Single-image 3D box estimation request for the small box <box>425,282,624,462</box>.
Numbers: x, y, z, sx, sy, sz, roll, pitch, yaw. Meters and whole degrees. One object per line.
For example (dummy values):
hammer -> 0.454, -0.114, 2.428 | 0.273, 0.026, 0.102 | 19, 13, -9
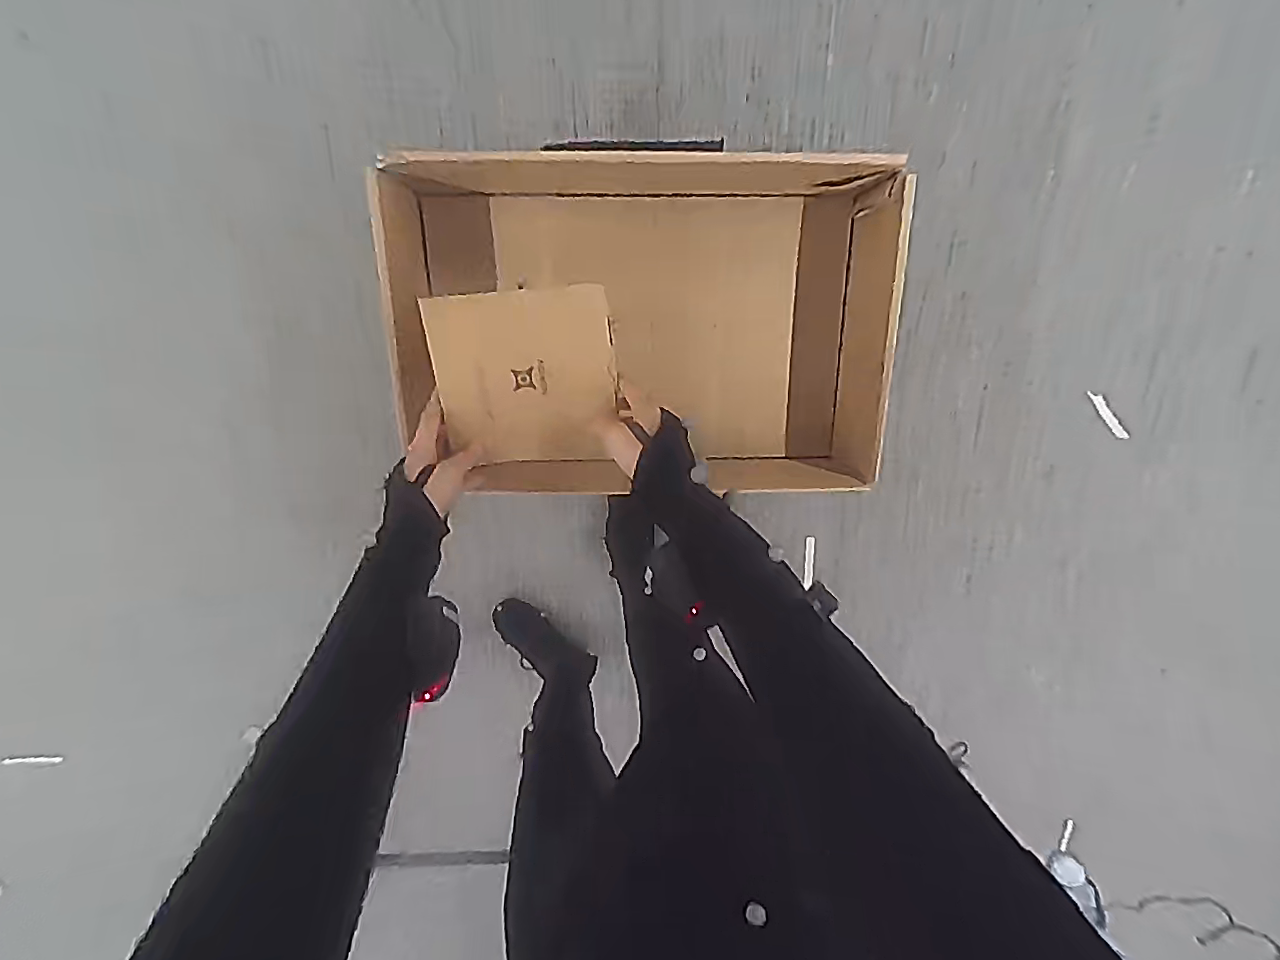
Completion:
small box -> -0.119, -0.130, 0.607 | 0.179, 0.176, 0.168 | -7, 109, -6
